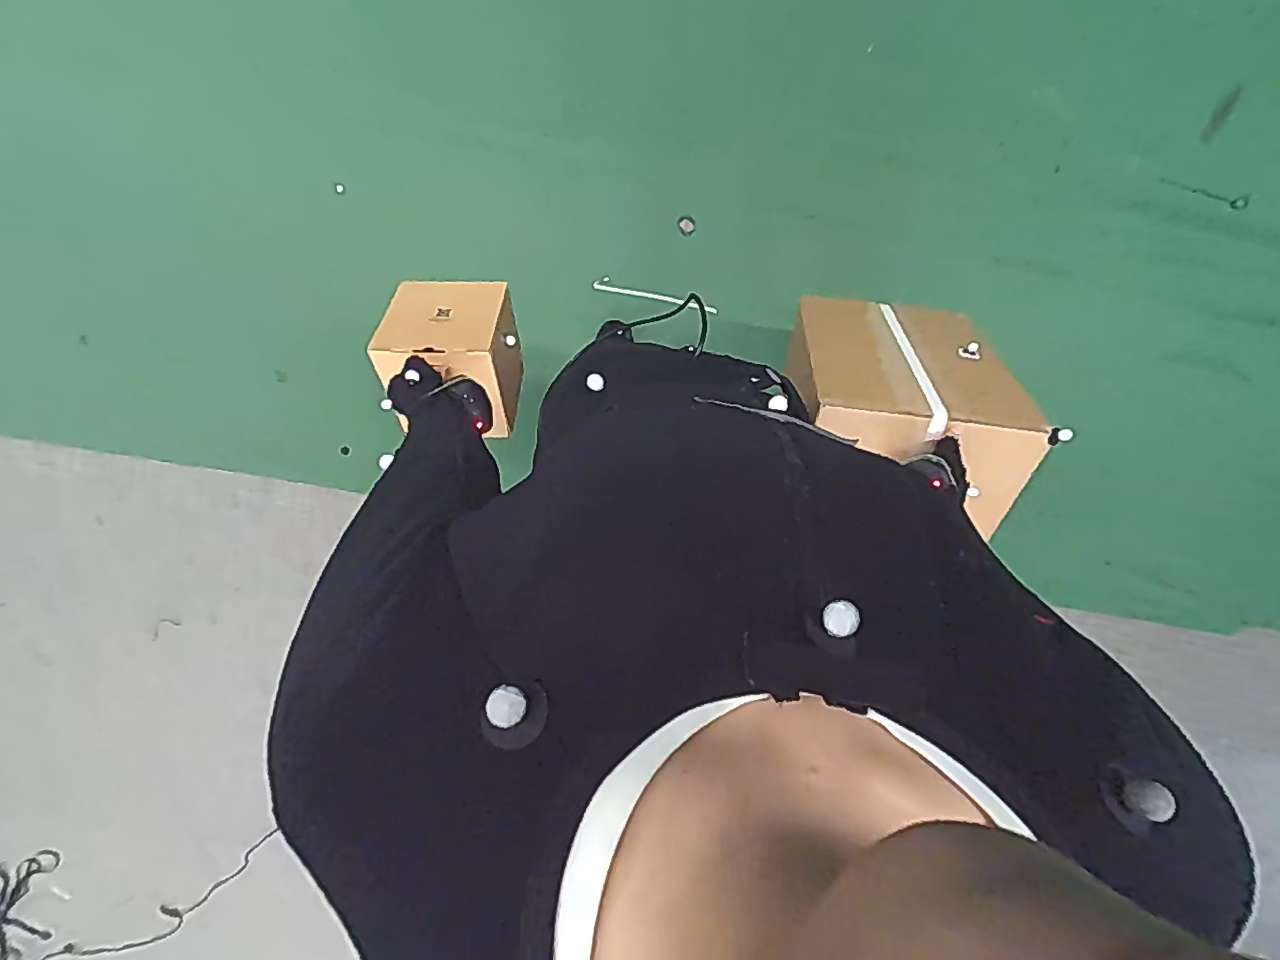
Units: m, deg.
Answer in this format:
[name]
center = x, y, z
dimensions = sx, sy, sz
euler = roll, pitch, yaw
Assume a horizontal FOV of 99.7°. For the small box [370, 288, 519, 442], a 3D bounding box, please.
[small box]
center = -0.291, -0.180, 0.851
dimensions = 0.168, 0.179, 0.176
euler = -1, 140, -1
